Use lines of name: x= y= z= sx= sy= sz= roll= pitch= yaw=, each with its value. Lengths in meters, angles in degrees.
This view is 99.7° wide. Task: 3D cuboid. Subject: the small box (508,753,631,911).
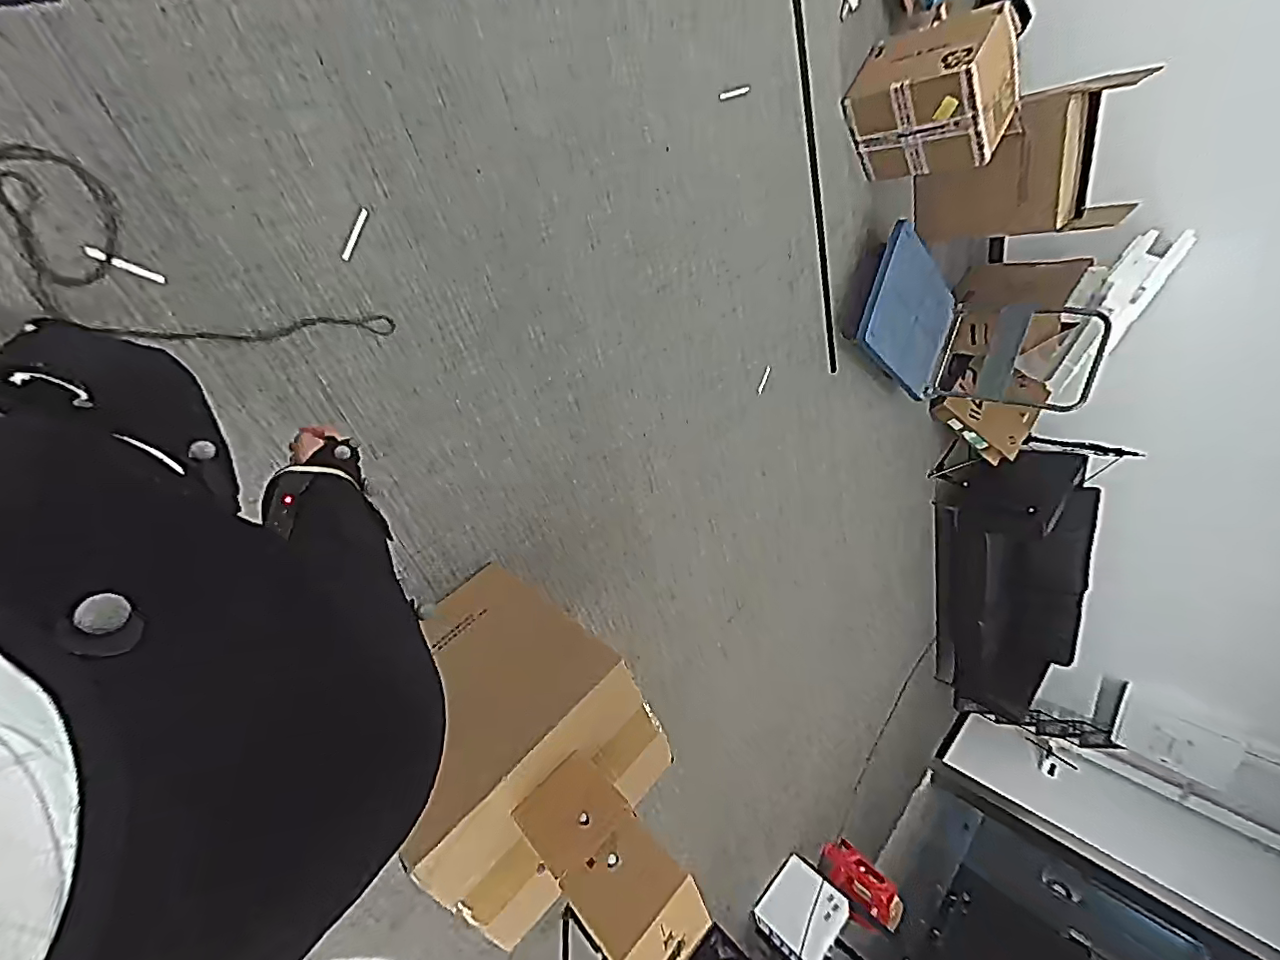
small box: x=-0.134 y=0.685 z=1.053 sx=0.179 sy=0.176 sz=0.168 roll=-36 pitch=125 yaw=-31

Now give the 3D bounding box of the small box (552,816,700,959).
small box: x=-0.024 y=0.737 z=0.941 sx=0.168 sy=0.176 sz=0.179 roll=-35 pitch=124 yaw=-31
